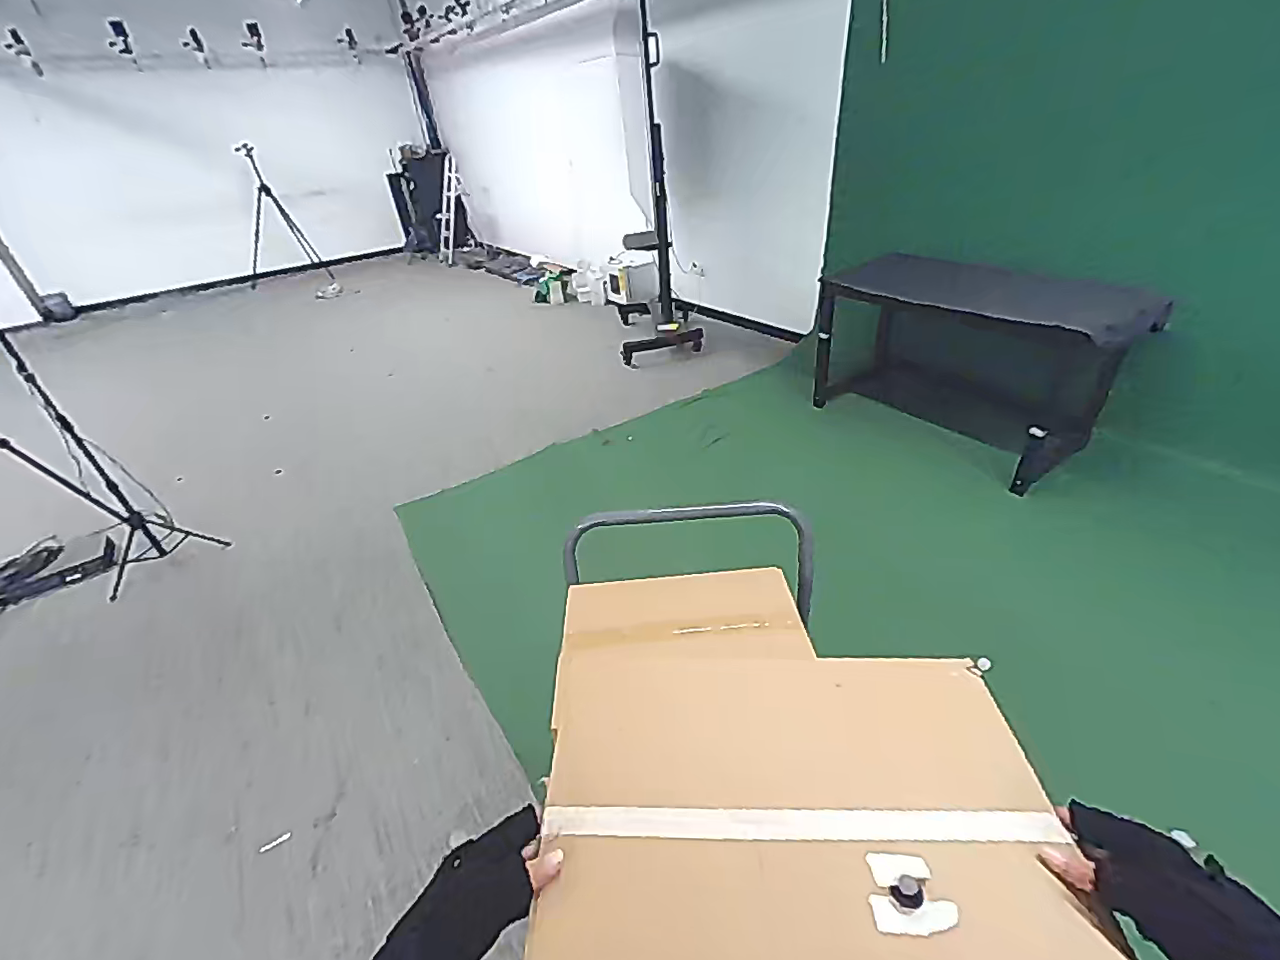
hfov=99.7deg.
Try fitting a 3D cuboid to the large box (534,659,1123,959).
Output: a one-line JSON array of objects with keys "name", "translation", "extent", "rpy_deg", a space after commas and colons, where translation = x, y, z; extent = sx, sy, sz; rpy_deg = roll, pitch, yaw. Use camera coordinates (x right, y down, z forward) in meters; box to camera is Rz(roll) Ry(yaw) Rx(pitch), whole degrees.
[{"name": "large box", "translation": [0.128, 0.396, 0.519], "extent": [0.408, 0.320, 0.320], "rpy_deg": [0, 36, 2]}]
